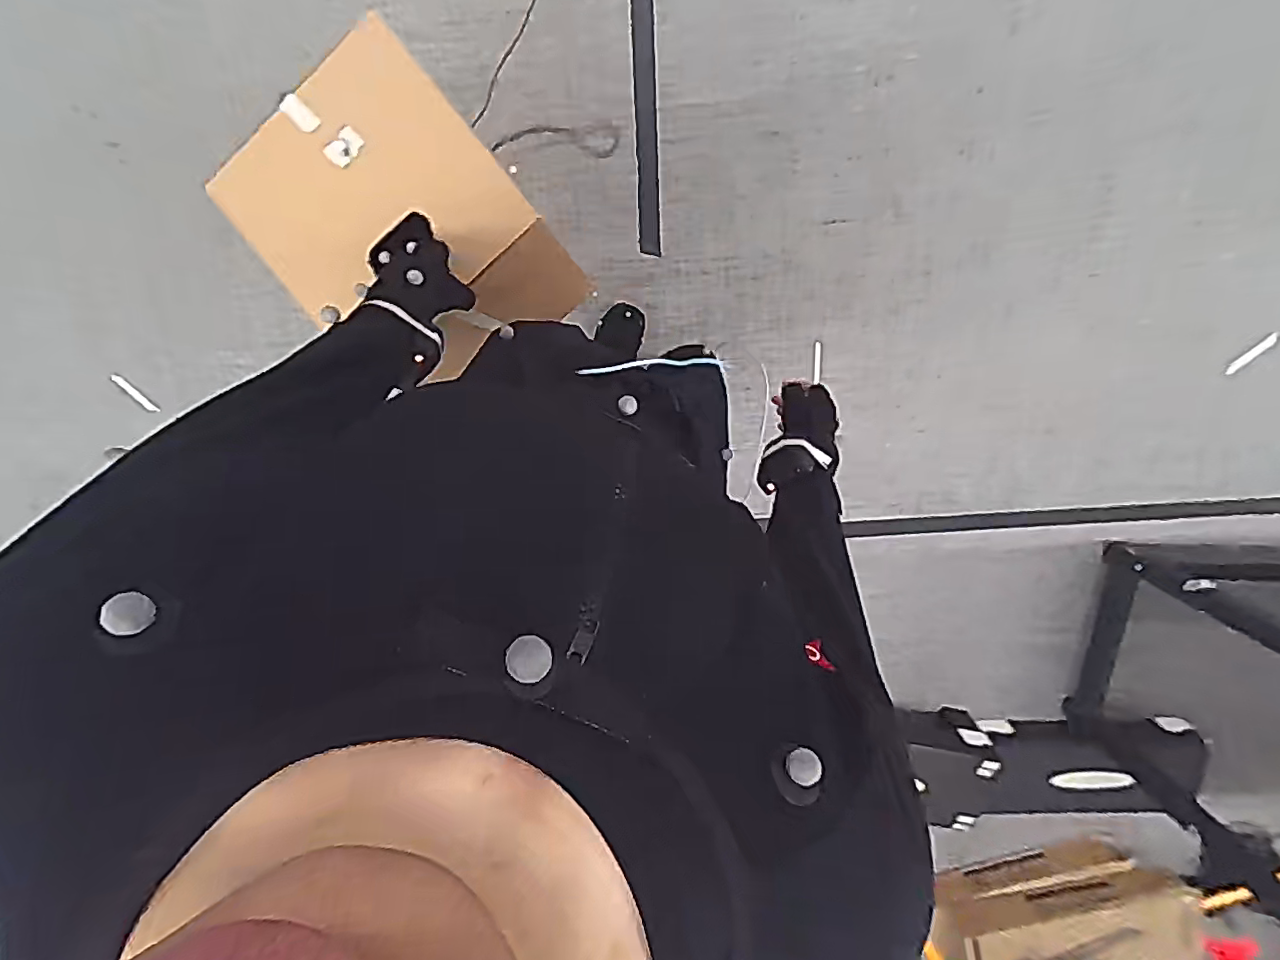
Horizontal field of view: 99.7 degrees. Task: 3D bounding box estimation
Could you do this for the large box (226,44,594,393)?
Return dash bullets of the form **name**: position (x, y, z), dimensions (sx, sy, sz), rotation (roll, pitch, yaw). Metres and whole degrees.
- **large box**: position (-0.319, -0.358, 0.876), dimensions (0.320, 0.408, 0.320), rotation (-39, 94, 9)
